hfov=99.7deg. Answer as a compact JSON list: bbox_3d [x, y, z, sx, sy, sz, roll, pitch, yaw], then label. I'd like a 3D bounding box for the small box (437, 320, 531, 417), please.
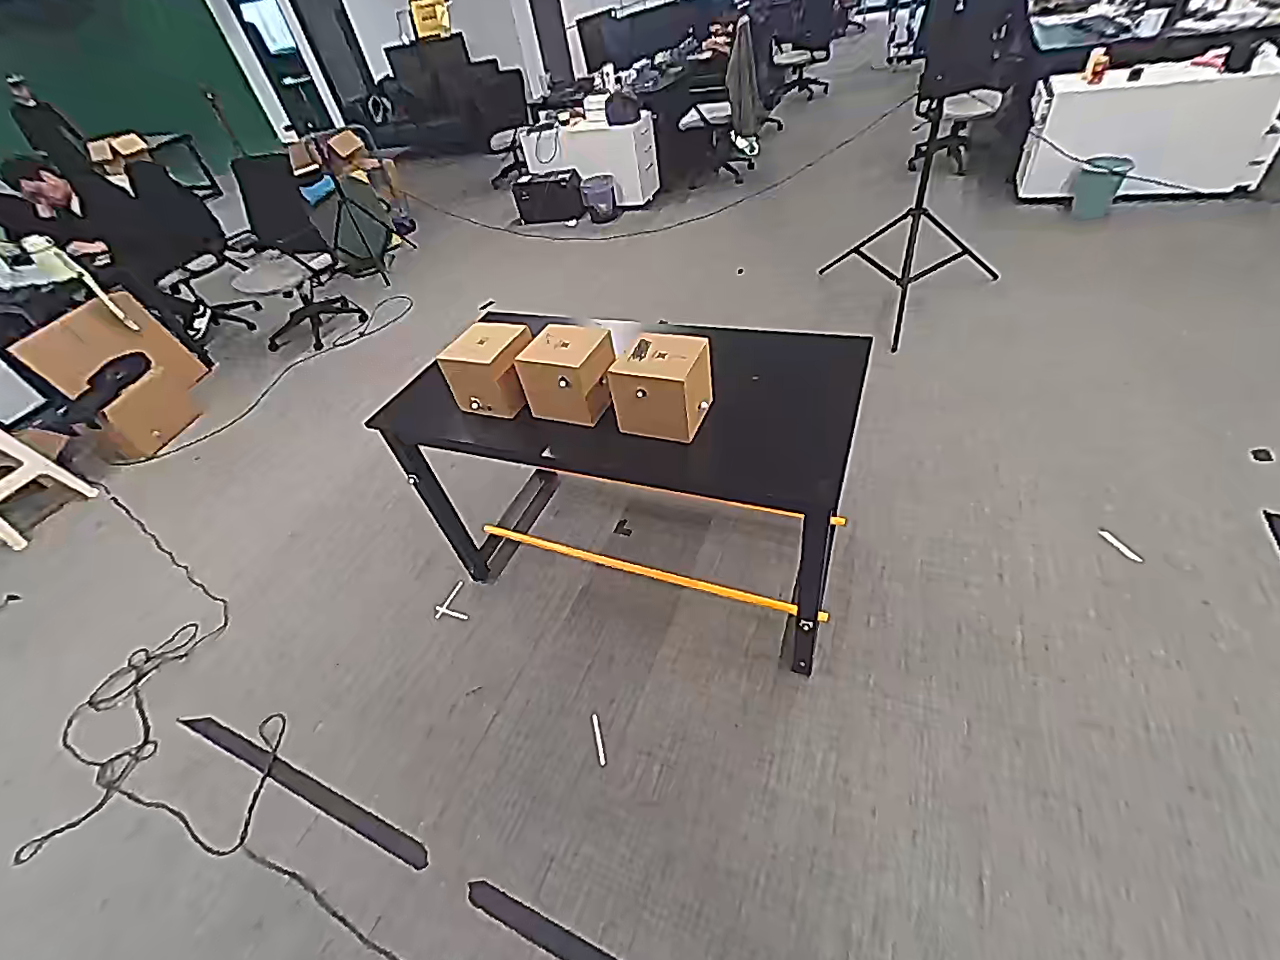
[{"bbox_3d":[-0.373,-0.284,1.375,0.168,0.176,0.179,9,48,22],"label":"small box"}]

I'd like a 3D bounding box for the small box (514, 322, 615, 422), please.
[{"bbox_3d":[-0.167,-0.257,1.301,0.179,0.176,0.168,11,48,23],"label":"small box"}]

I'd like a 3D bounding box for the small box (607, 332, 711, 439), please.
[{"bbox_3d":[0.050,-0.211,1.207,0.179,0.176,0.168,12,48,22],"label":"small box"}]
